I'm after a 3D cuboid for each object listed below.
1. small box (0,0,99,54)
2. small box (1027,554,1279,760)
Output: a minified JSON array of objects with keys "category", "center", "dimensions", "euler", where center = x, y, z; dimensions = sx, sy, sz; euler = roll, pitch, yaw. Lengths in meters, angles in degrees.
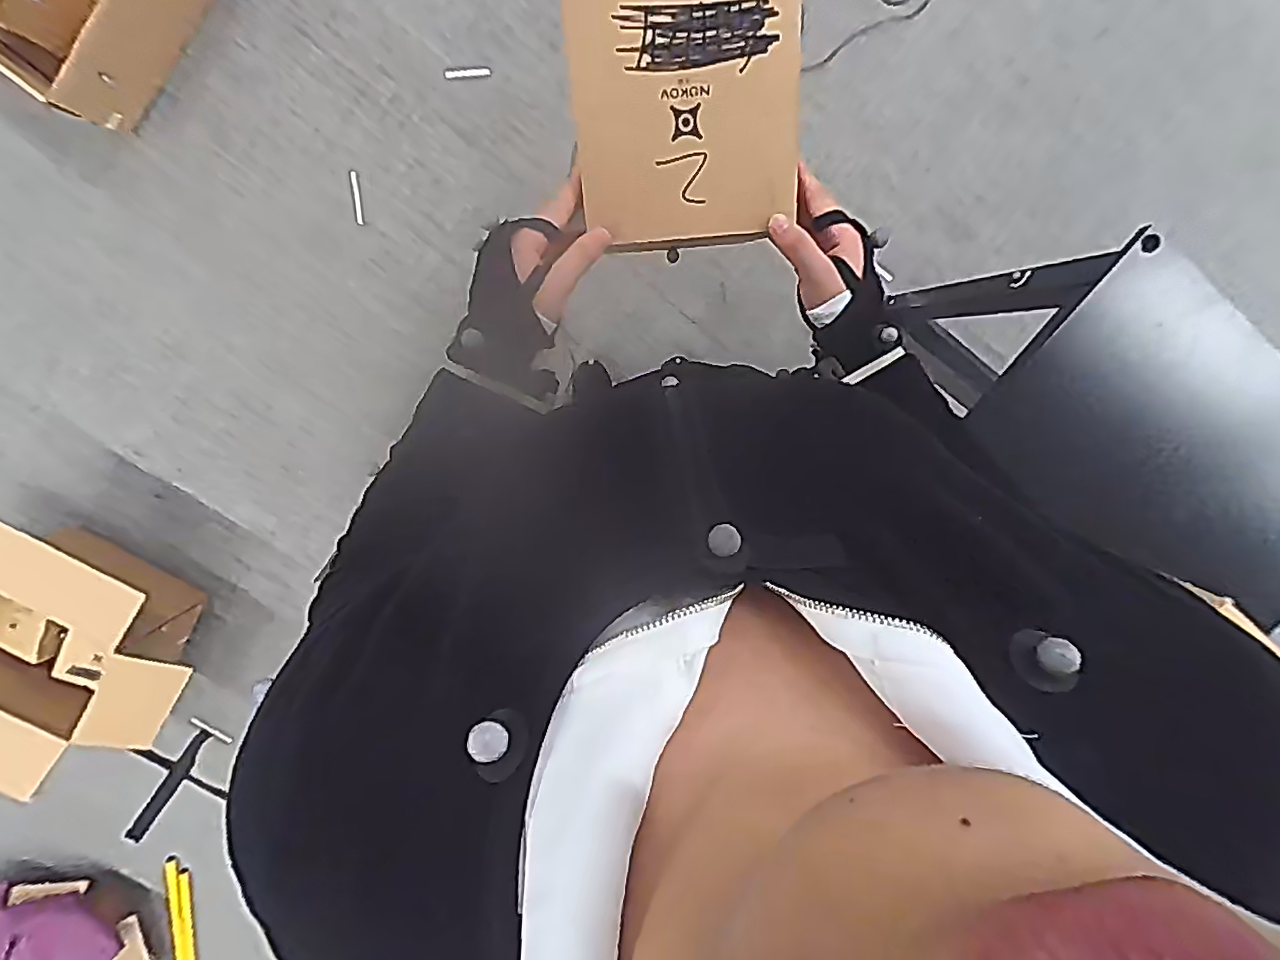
[{"category":"small box","center":[-1.288,-1.041,1.109],"dimensions":[0.168,0.176,0.179],"euler":[38,99,-11]},{"category":"small box","center":[0.698,0.229,0.742],"dimensions":[0.179,0.176,0.168],"euler":[37,100,-9]}]
